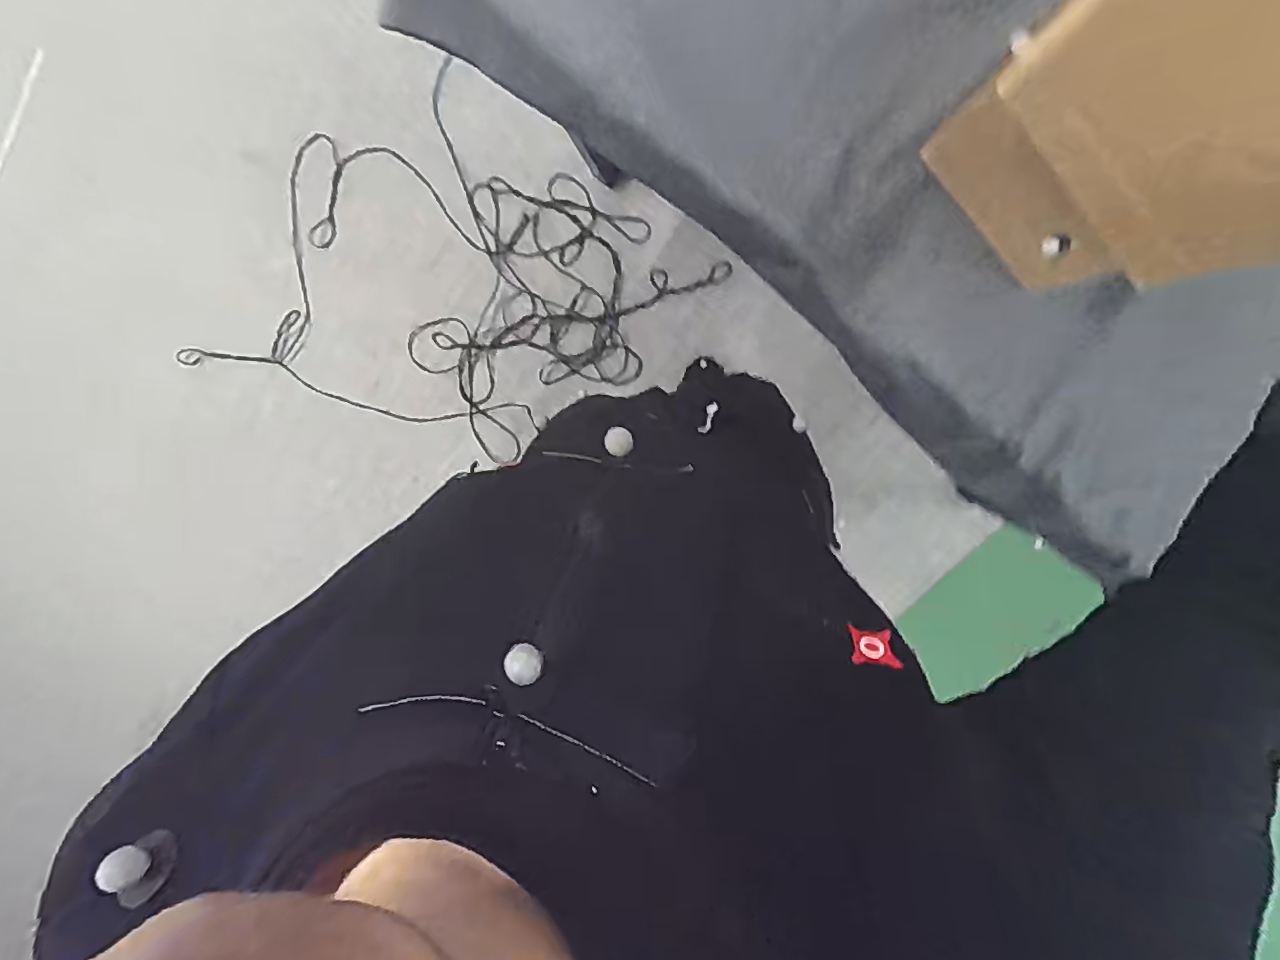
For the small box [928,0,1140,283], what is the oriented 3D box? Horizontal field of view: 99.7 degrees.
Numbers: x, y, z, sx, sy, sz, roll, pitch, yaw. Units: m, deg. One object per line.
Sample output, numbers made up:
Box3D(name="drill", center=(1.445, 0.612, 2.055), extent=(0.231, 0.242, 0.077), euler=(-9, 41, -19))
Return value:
Box3D(name="small box", center=(0.376, -0.278, 0.427), extent=(0.168, 0.176, 0.179), euler=(-41, 94, 12))
